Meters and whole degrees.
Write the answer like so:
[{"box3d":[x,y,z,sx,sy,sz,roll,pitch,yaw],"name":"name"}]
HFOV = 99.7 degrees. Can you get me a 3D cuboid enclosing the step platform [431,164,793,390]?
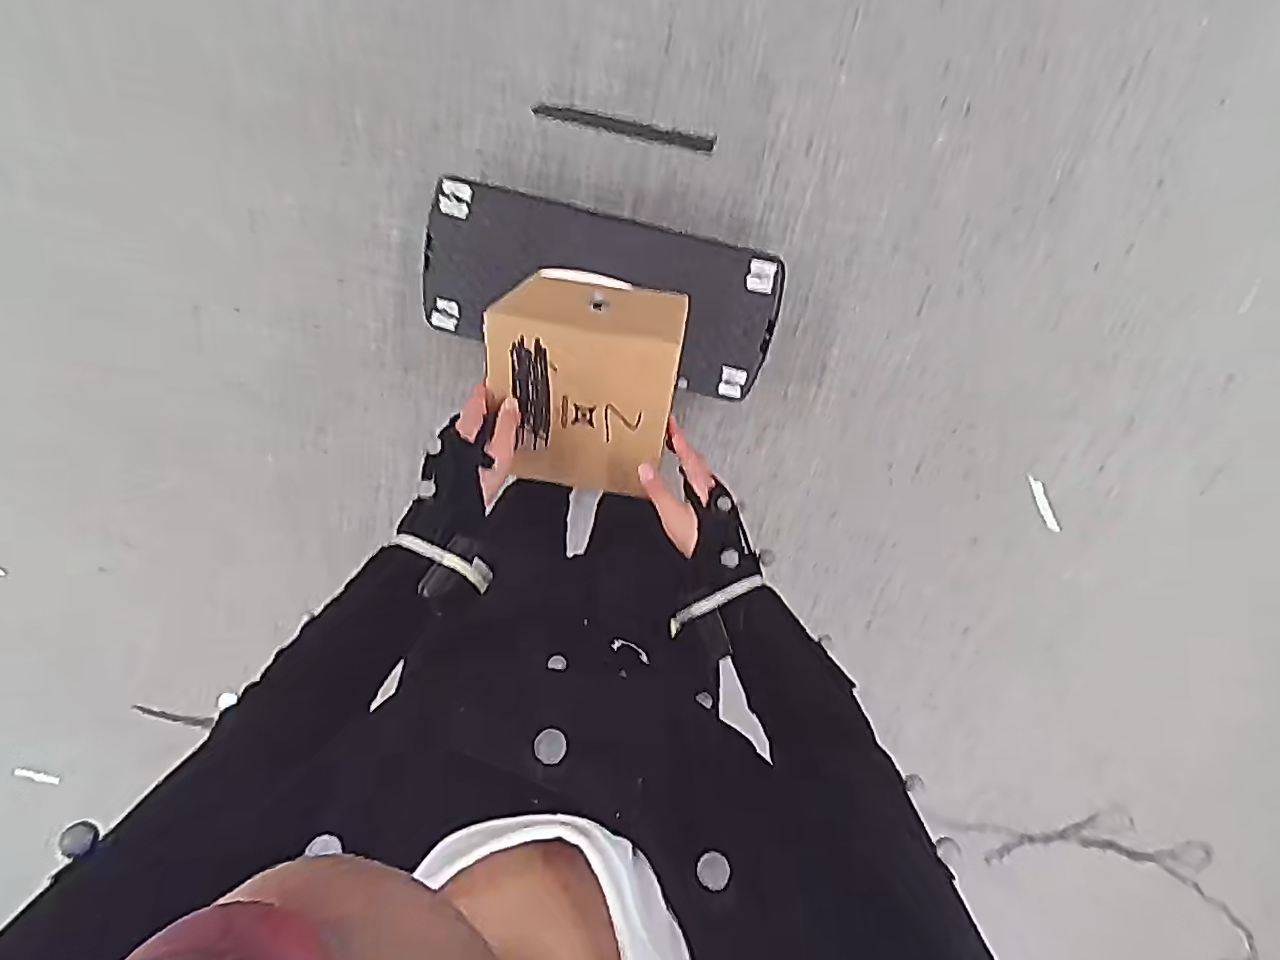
[{"box3d":[-0.054,-0.392,1.077,0.684,0.204,0.286,13,109,0],"name":"step platform"}]
